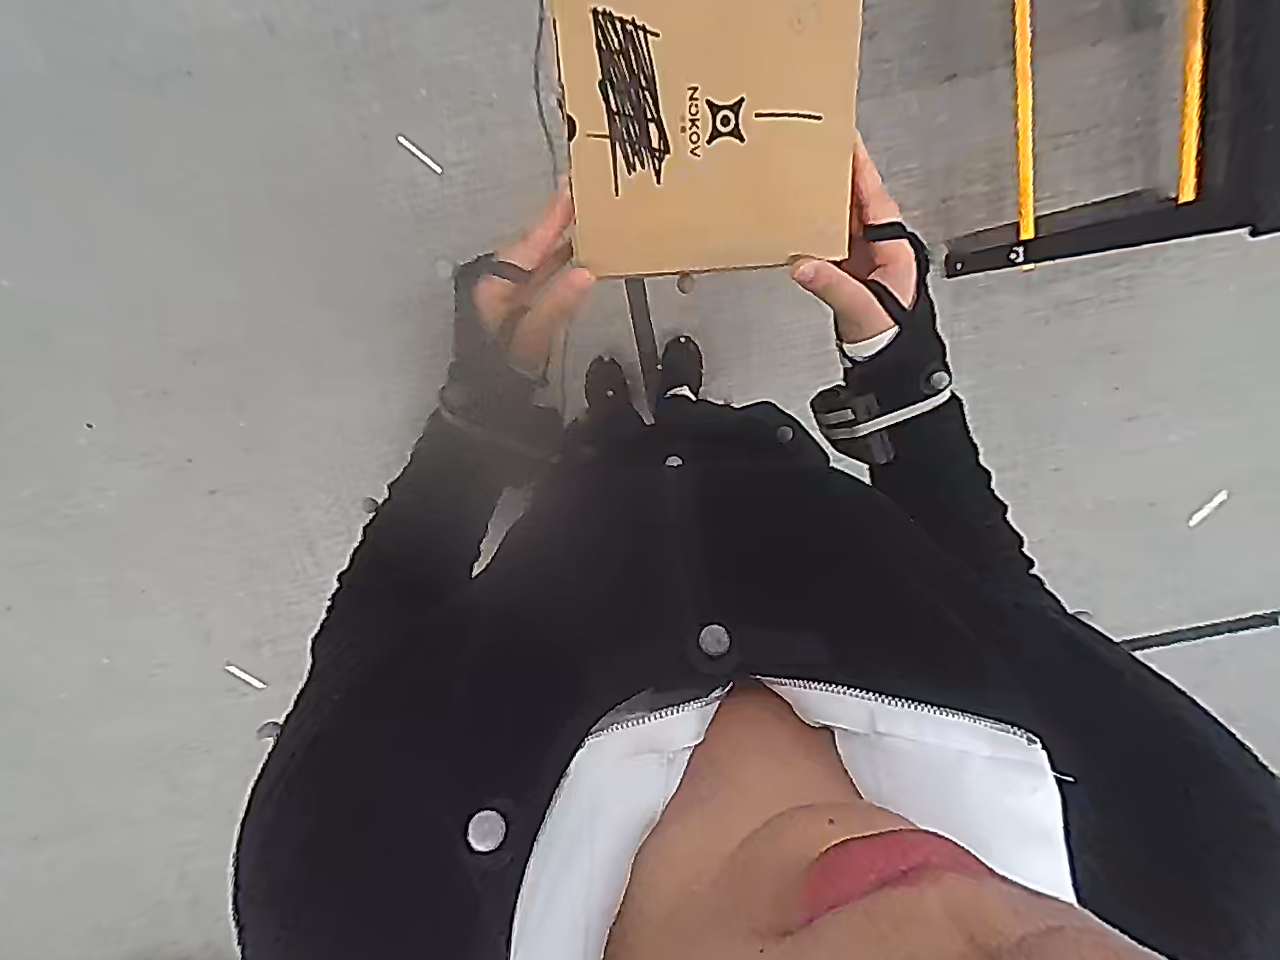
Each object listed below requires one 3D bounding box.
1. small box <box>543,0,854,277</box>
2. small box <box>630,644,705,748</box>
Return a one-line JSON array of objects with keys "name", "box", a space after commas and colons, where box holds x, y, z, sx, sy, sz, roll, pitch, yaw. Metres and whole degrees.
[{"name": "small box", "box": [0.033, -0.241, 0.393, 0.179, 0.176, 0.168, -6, 110, -3]}, {"name": "small box", "box": [0.070, 0.559, 1.411, 0.168, 0.176, 0.179, -11, 105, 2]}]
